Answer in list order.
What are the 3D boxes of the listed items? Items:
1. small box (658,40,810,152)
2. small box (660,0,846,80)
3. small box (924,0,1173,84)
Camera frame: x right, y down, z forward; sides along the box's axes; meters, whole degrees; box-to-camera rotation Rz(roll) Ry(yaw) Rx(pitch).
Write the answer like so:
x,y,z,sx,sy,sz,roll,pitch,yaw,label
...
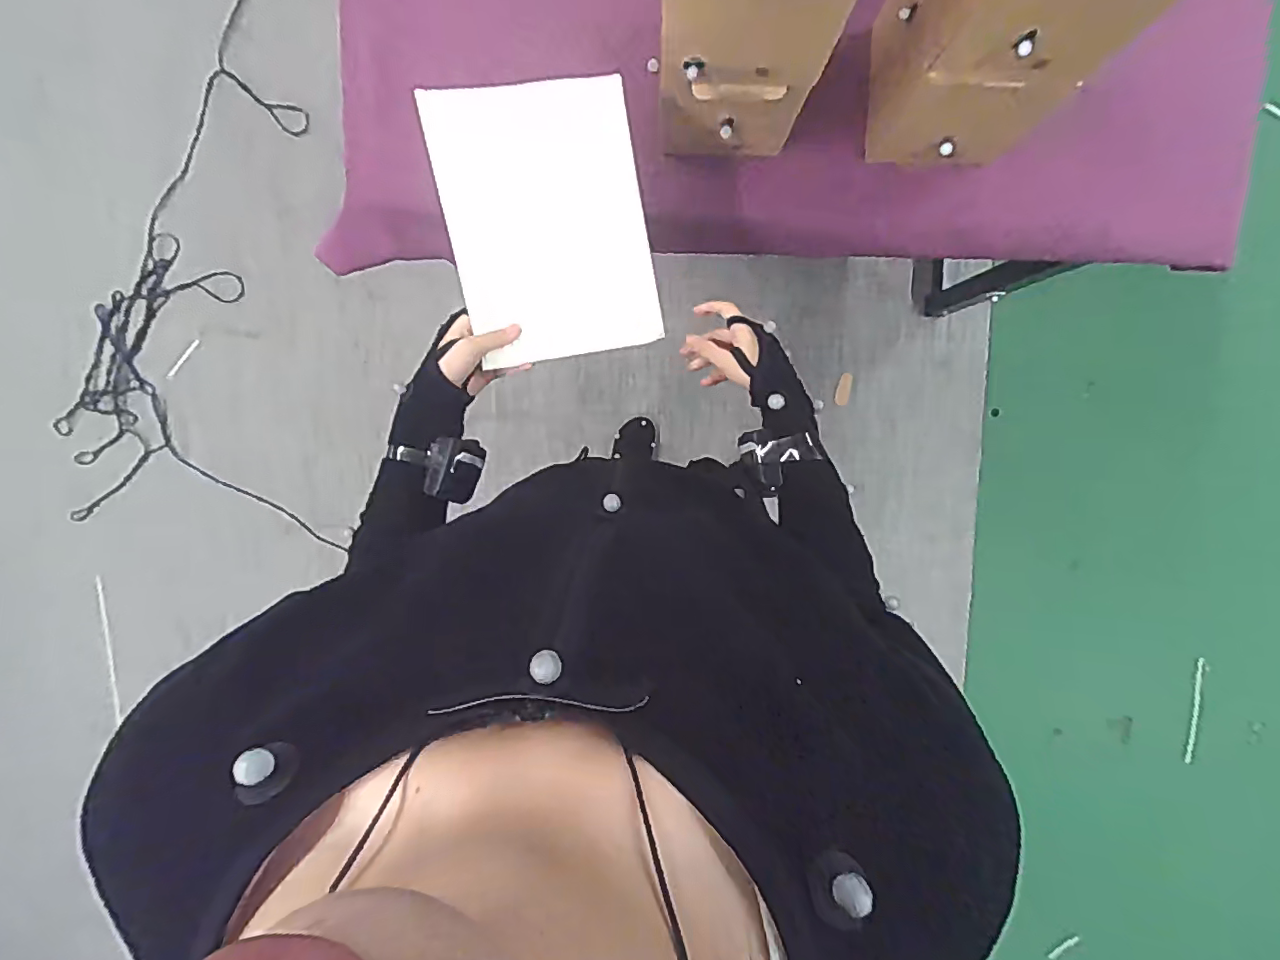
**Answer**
x,y,z,sx,sy,sz,roll,pitch,yaw,label
0.107,-0.520,0.645,0.168,0.176,0.179,2,97,1,small box
0.104,-0.497,0.482,0.168,0.176,0.179,2,95,1,small box
0.377,-0.498,0.477,0.168,0.176,0.179,2,95,1,small box
